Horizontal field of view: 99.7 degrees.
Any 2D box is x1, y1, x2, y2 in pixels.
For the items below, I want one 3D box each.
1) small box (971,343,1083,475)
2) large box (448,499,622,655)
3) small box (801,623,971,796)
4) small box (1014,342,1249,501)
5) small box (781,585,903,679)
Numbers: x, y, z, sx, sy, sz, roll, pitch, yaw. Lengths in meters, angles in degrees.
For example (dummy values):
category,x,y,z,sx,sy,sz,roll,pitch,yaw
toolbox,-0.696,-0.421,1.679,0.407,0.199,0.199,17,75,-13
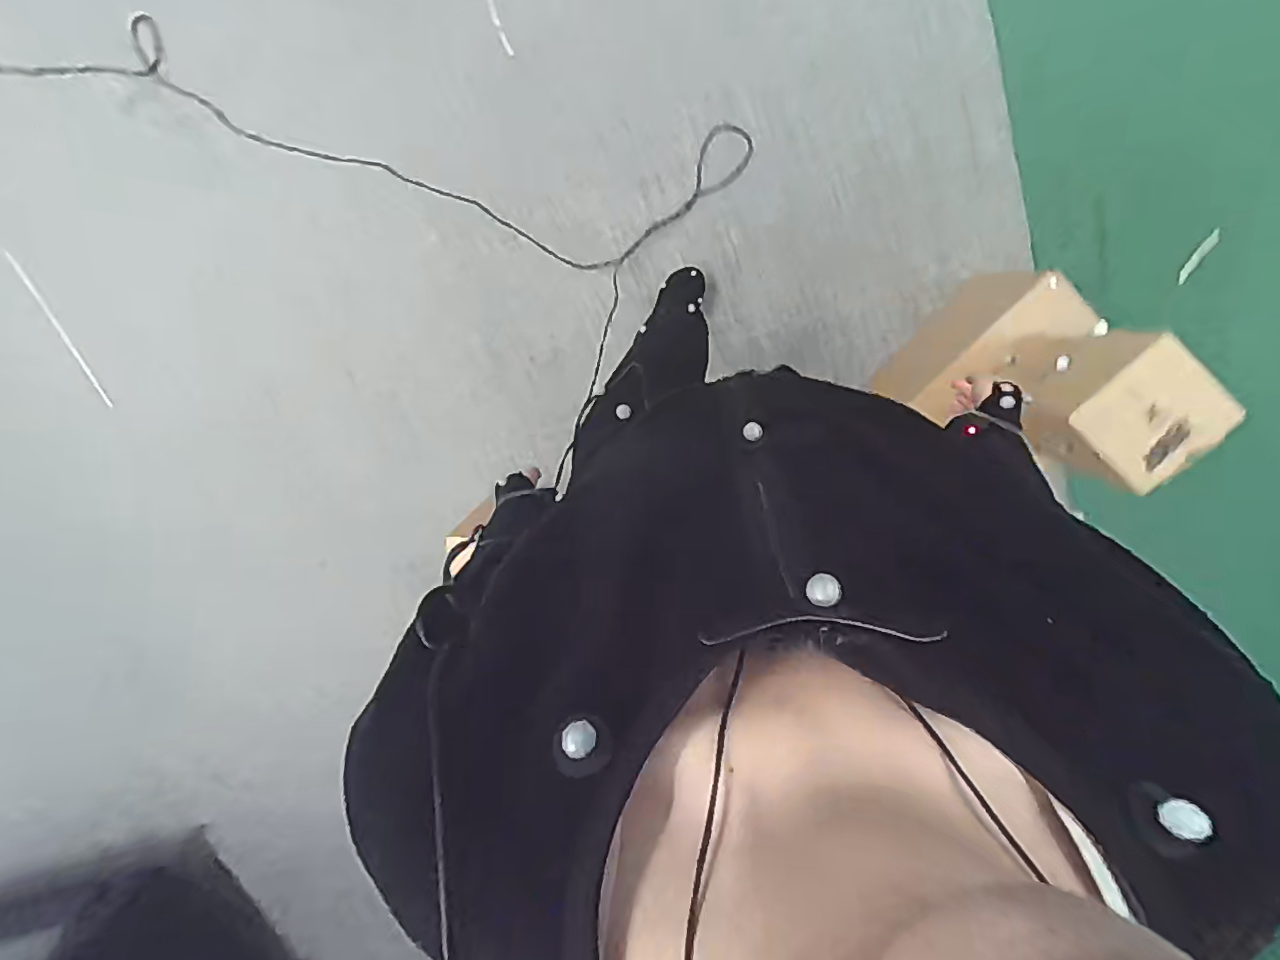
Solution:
category,x,y,z,sx,sy,sz,roll,pitch,yaw
small box,0.772,-0.141,1.002,0.179,0.176,0.168,37,106,-5
large box,-0.266,0.251,1.491,0.408,0.320,0.320,3,109,4
small box,0.402,0.379,0.918,0.179,0.176,0.168,39,107,-7
small box,0.746,-0.101,0.844,0.179,0.176,0.168,42,106,-6
small box,0.404,0.334,1.076,0.168,0.176,0.179,-43,99,17
